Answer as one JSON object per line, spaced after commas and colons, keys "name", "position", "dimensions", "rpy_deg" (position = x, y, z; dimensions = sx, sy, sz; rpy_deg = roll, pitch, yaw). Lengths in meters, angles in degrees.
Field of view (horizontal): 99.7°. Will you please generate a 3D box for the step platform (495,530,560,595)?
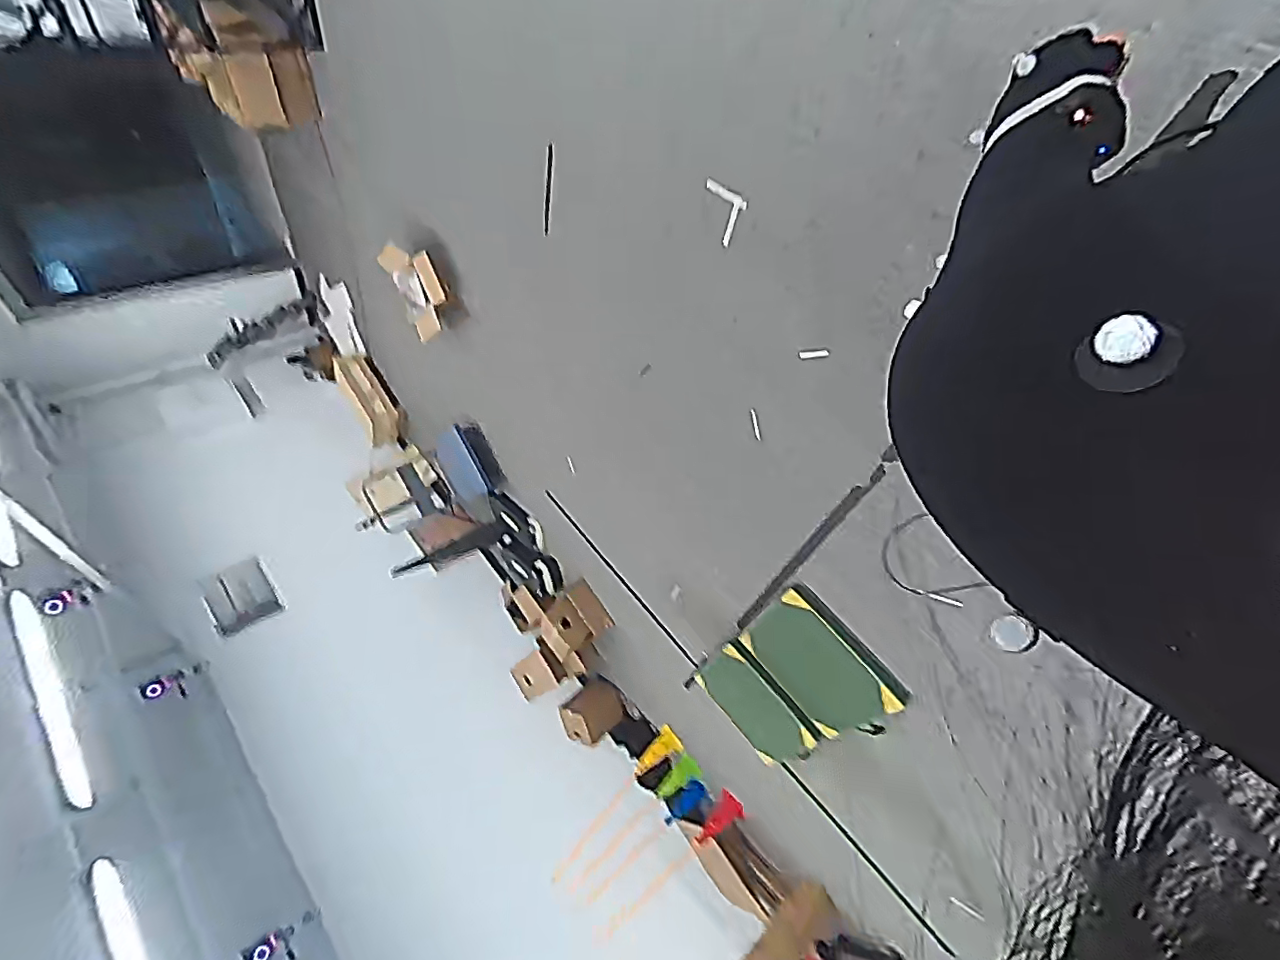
{"name": "step platform", "position": [-0.949, 0.684, 4.504], "dimensions": [0.684, 0.204, 0.286], "rpy_deg": [23, 133, 42]}
